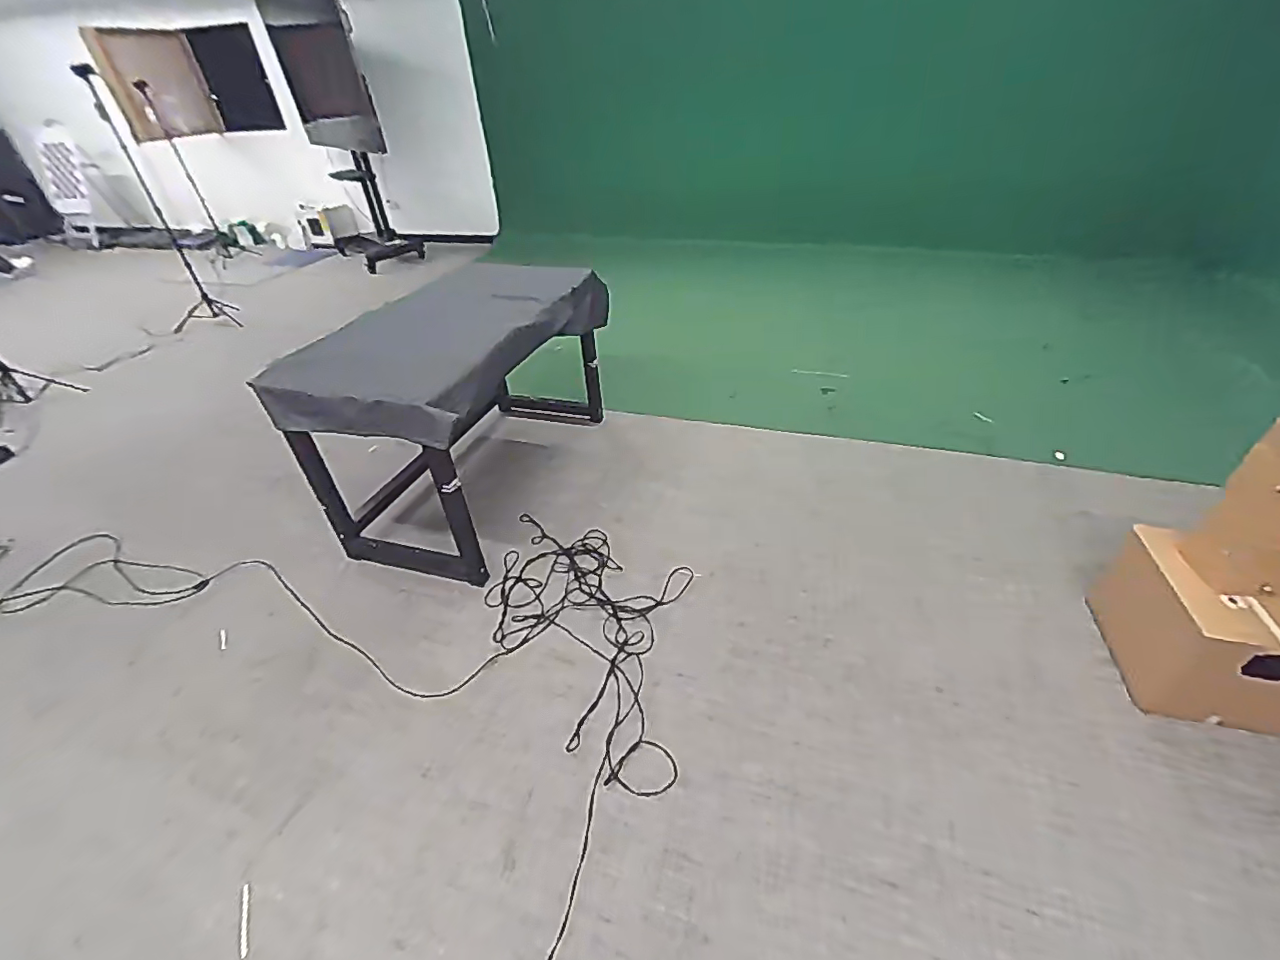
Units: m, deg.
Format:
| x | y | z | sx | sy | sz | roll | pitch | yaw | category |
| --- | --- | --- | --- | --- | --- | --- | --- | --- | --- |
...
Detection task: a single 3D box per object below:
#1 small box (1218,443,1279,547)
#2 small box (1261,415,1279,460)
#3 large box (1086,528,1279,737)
| x | y | z | sx | sy | sz | roll | pitch | yaw | category |
| --- | --- | --- | --- | --- | --- | --- | --- | --- | --- |
| 1.486 | 0.040 | 1.218 | 0.168 | 0.176 | 0.179 | 6 | 39 | 13 | small box |
| 1.482 | -0.089 | 1.119 | 0.168 | 0.176 | 0.179 | 7 | 39 | 12 | small box |
| 1.495 | 0.389 | 1.432 | 0.320 | 0.320 | 0.408 | 6 | 39 | 14 | large box |
